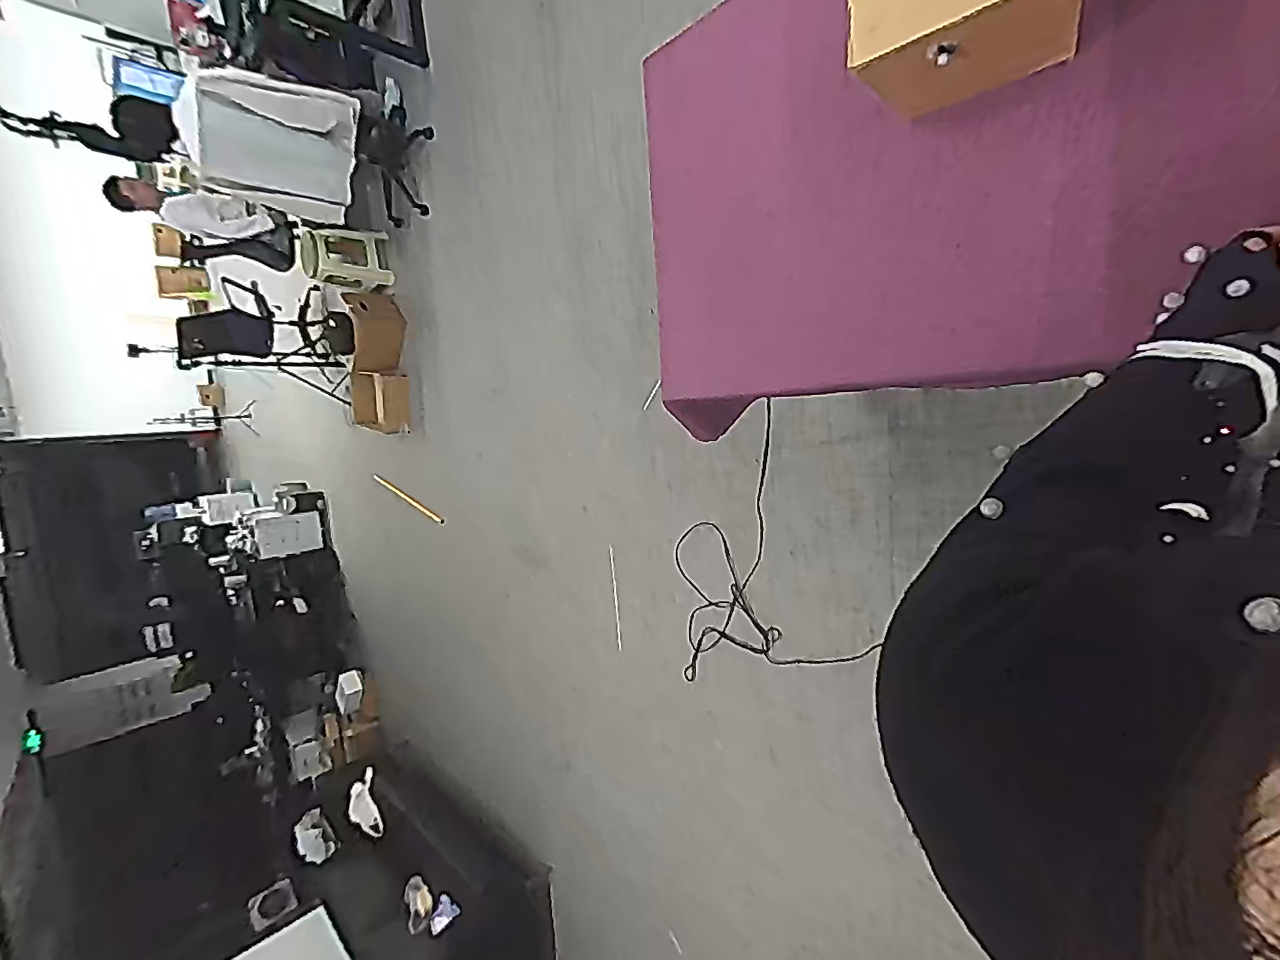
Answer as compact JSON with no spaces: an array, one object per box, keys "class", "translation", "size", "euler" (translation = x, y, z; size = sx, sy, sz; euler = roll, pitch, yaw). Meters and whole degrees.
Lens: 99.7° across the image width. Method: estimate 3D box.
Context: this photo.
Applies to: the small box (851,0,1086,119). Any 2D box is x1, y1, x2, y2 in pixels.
[{"class":"small box","translation":[0.344,-0.515,0.563],"size":[0.179,0.176,0.168],"euler":[8,103,44]}]
